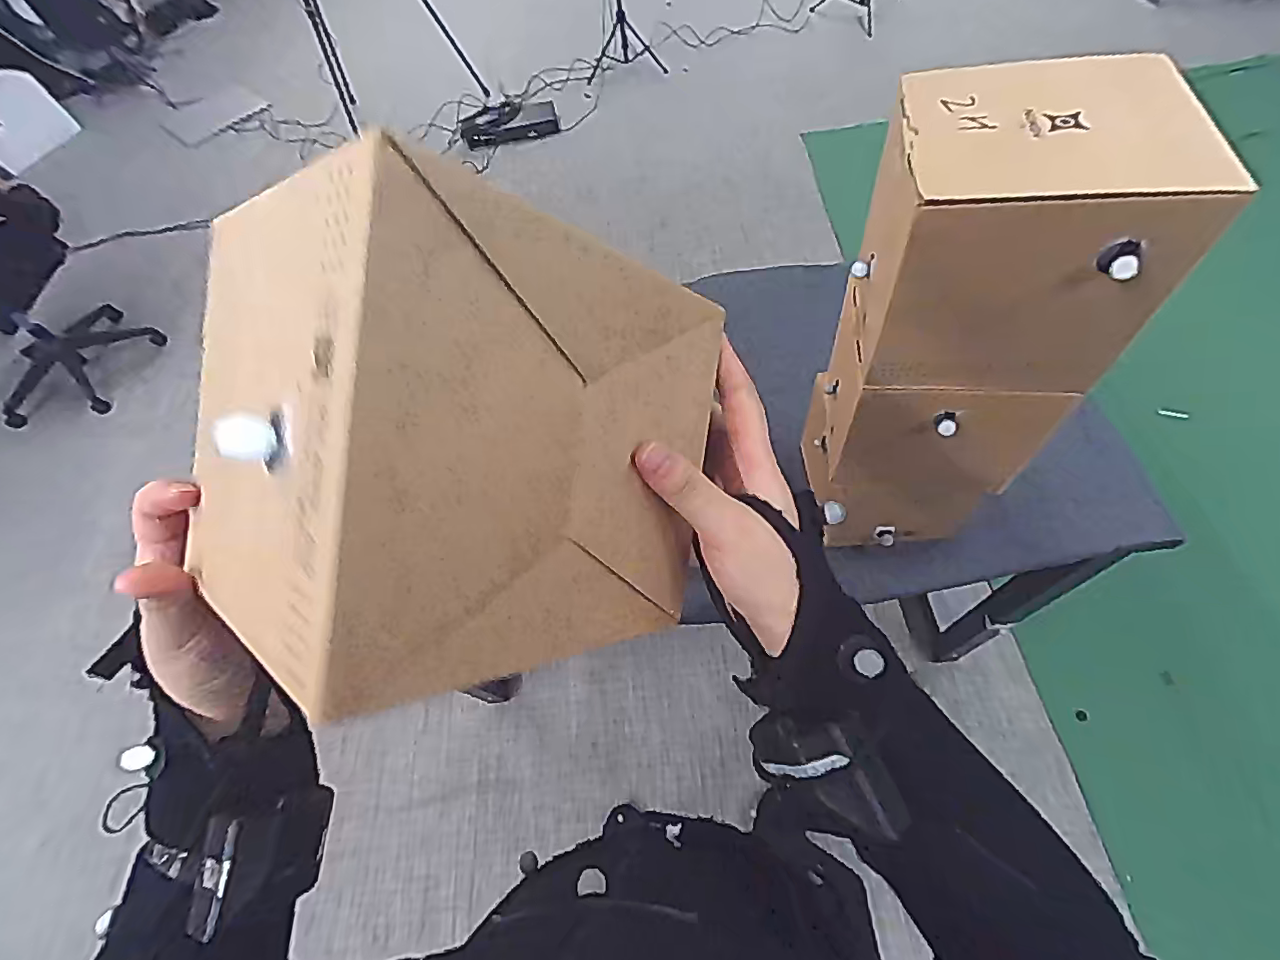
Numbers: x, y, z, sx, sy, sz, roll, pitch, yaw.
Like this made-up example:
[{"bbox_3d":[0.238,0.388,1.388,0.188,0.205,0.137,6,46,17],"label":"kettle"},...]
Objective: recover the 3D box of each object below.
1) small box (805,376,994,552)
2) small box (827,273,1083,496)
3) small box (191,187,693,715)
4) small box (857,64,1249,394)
[{"bbox_3d":[0.319,-0.023,0.704,0.168,0.176,0.179,-6,58,6],"label":"small box"},{"bbox_3d":[0.298,-0.094,0.559,0.179,0.176,0.168,3,59,12],"label":"small box"},{"bbox_3d":[-0.085,-0.016,0.263,0.176,0.179,0.168,13,98,37],"label":"small box"},{"bbox_3d":[0.278,-0.182,0.421,0.179,0.176,0.168,4,59,13],"label":"small box"}]
